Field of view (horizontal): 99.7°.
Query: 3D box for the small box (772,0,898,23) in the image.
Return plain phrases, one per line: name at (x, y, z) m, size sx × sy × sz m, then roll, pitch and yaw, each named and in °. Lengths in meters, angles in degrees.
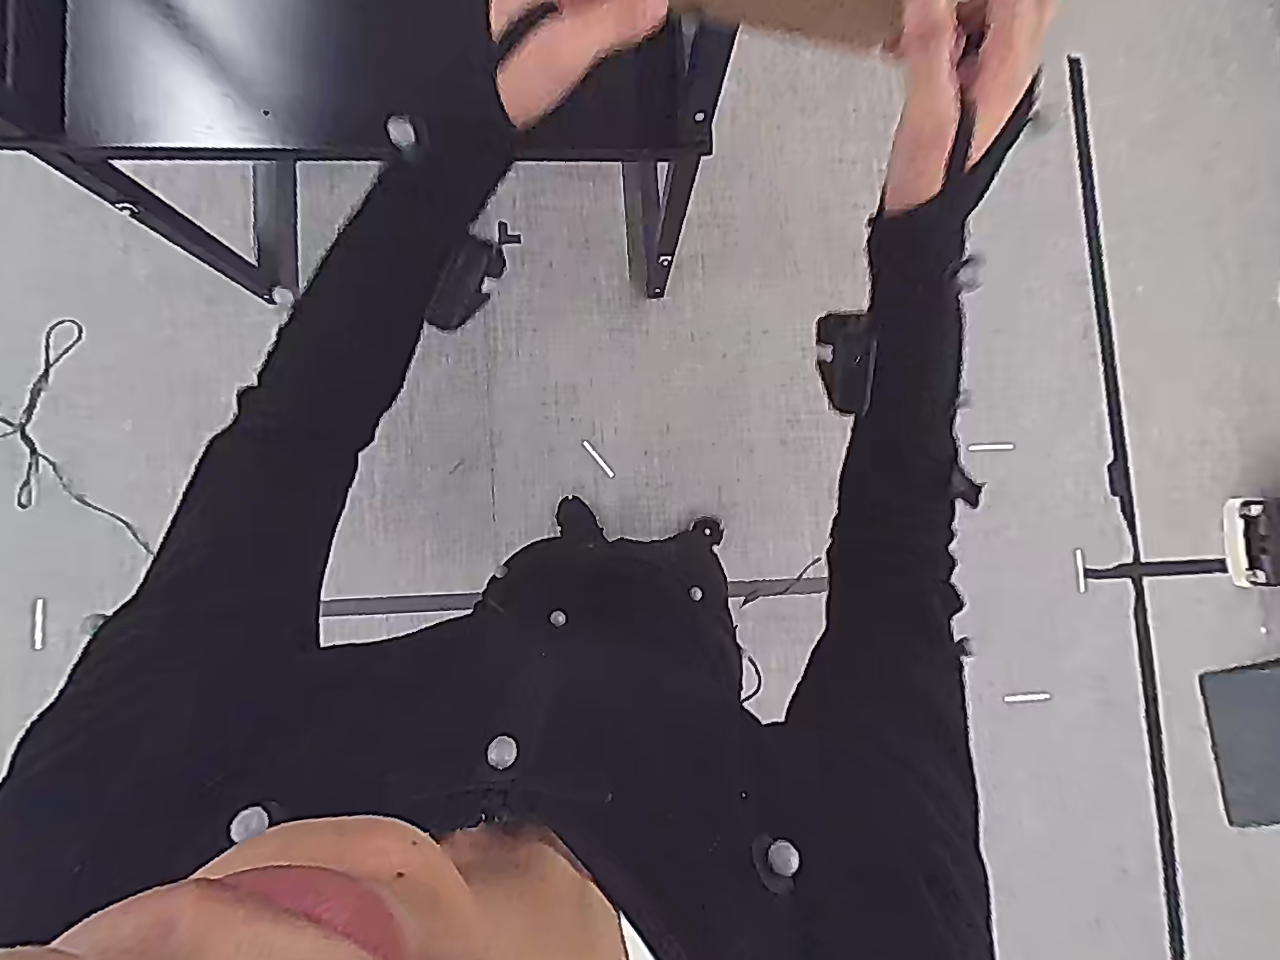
small box at (0.093, -0.361, 0.265) m, size 0.168 × 0.176 × 0.179 m, roll 12°, pitch 122°, yaw -1°
